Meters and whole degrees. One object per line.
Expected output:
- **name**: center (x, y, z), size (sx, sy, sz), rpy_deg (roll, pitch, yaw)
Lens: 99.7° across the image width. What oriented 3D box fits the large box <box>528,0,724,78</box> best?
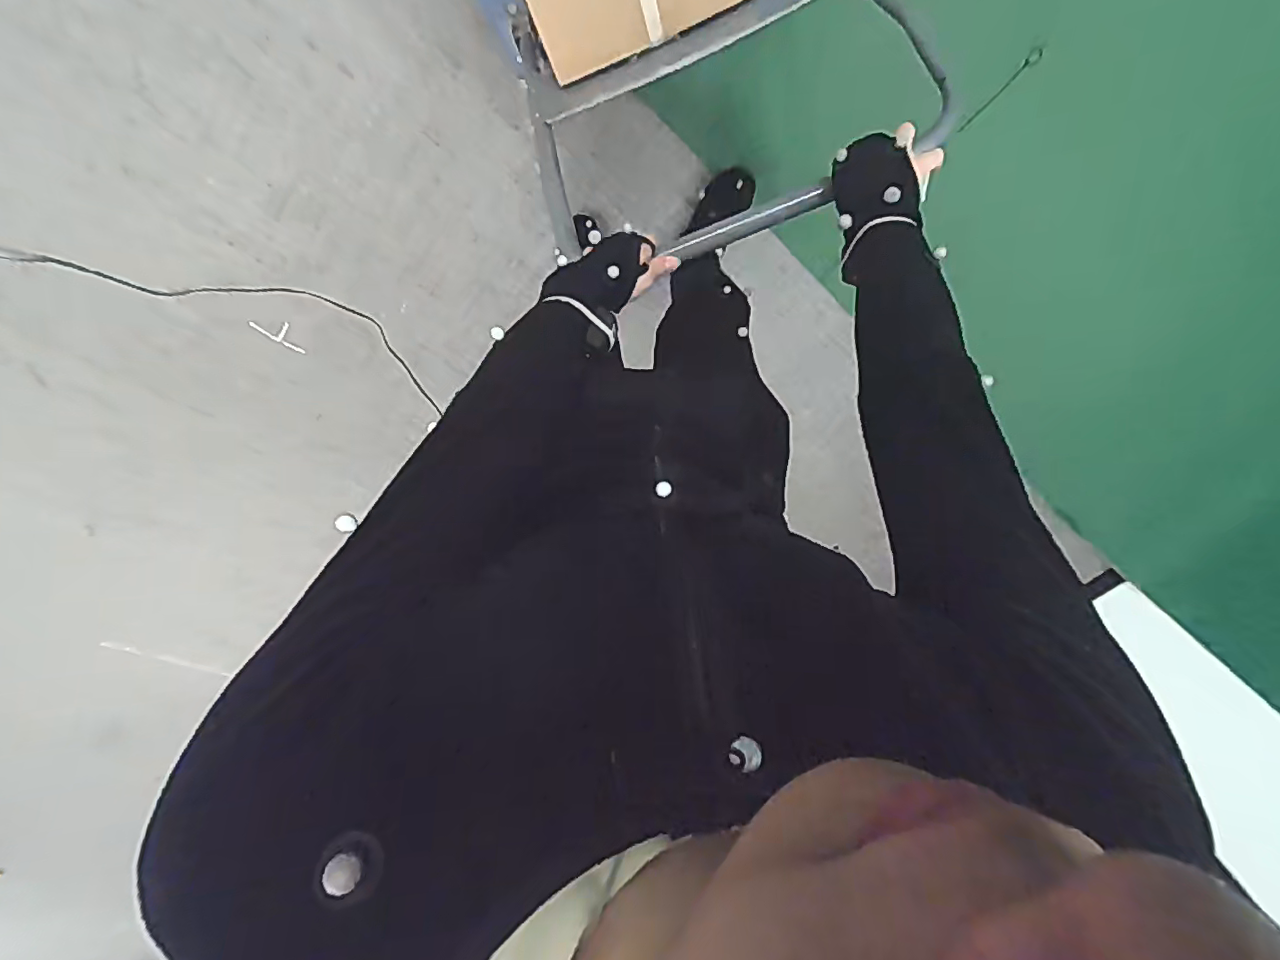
- **large box**: center (-0.063, -0.883, 0.738), size (0.320, 0.320, 0.408), rpy_deg (-19, 143, 10)
